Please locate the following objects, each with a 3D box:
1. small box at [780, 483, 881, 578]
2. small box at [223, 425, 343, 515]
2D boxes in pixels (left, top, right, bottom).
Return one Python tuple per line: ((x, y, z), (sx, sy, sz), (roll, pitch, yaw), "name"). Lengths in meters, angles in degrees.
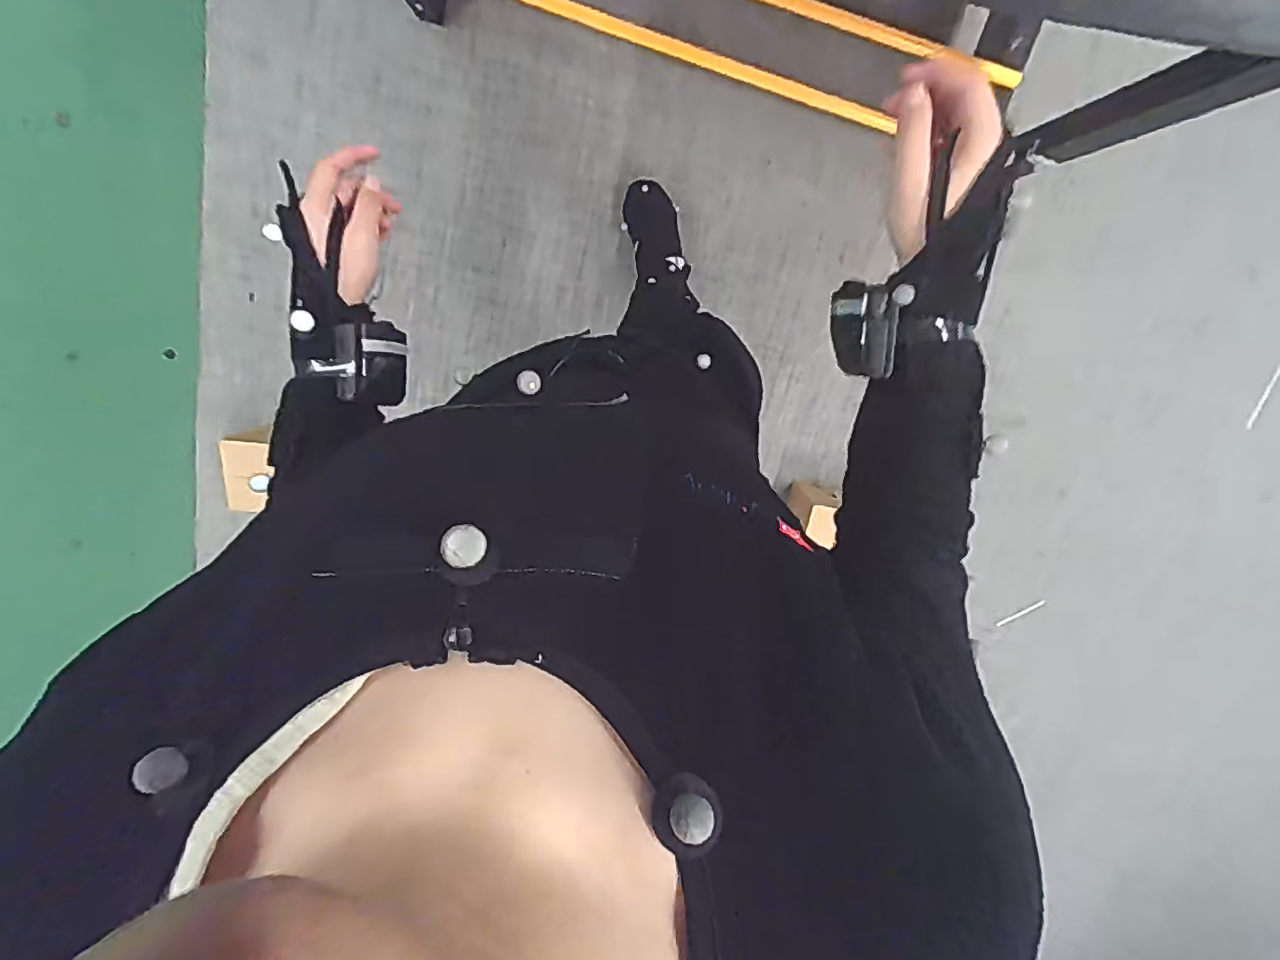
((0.460, 0.118, 1.336), (0.168, 0.176, 0.179), (9, 106, -4), "small box")
((-0.823, -0.029, 1.270), (0.179, 0.176, 0.168), (5, 107, -1), "small box")
